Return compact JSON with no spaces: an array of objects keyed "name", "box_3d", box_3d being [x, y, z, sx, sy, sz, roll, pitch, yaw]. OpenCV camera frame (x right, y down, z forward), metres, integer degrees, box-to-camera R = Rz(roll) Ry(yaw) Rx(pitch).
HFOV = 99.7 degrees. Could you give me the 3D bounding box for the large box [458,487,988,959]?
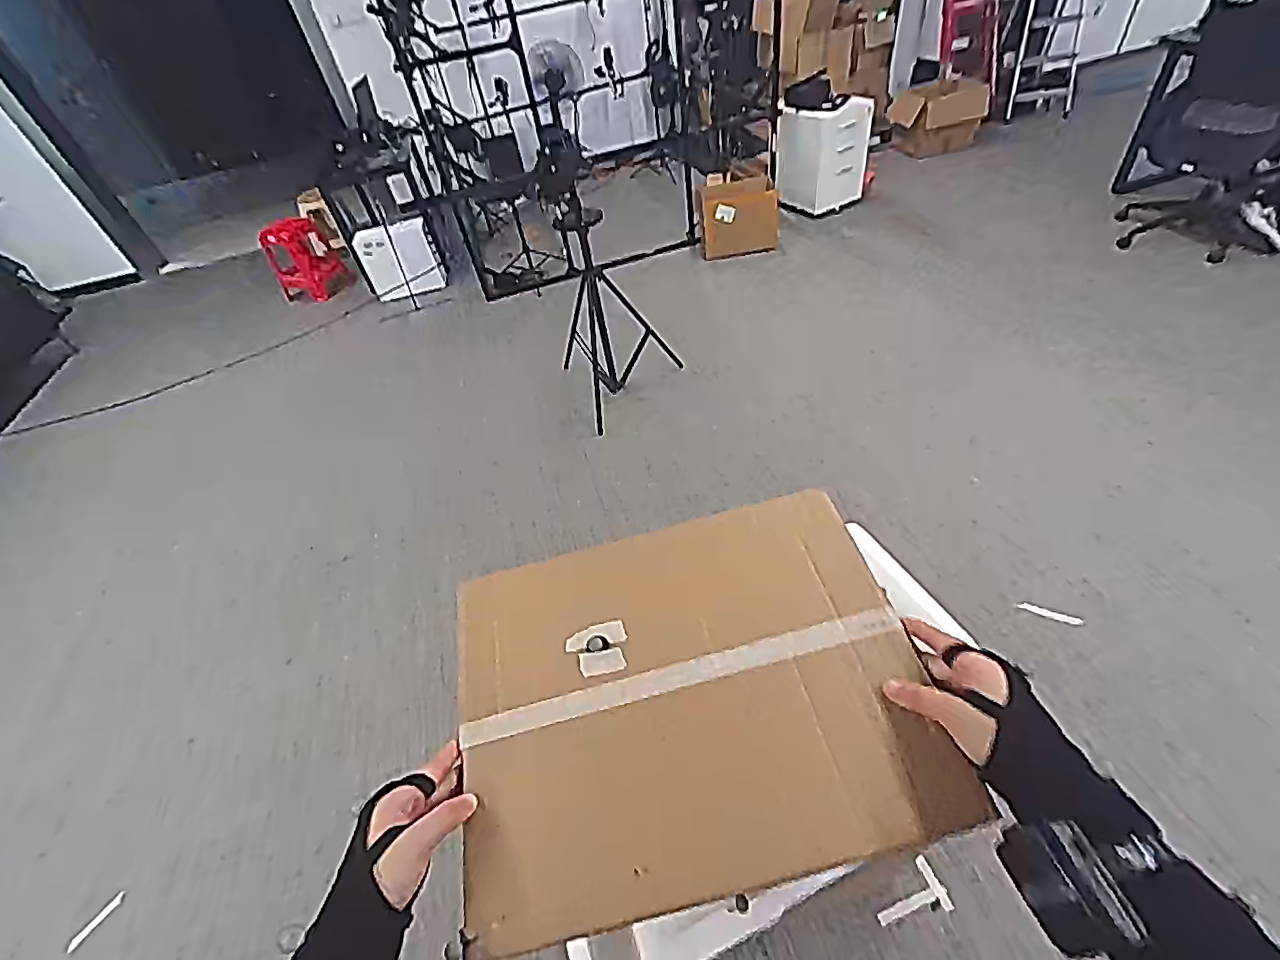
[{"name":"large box","box_3d":[0.060,0.265,0.601,0.408,0.320,0.320,-17,51,-1]}]
